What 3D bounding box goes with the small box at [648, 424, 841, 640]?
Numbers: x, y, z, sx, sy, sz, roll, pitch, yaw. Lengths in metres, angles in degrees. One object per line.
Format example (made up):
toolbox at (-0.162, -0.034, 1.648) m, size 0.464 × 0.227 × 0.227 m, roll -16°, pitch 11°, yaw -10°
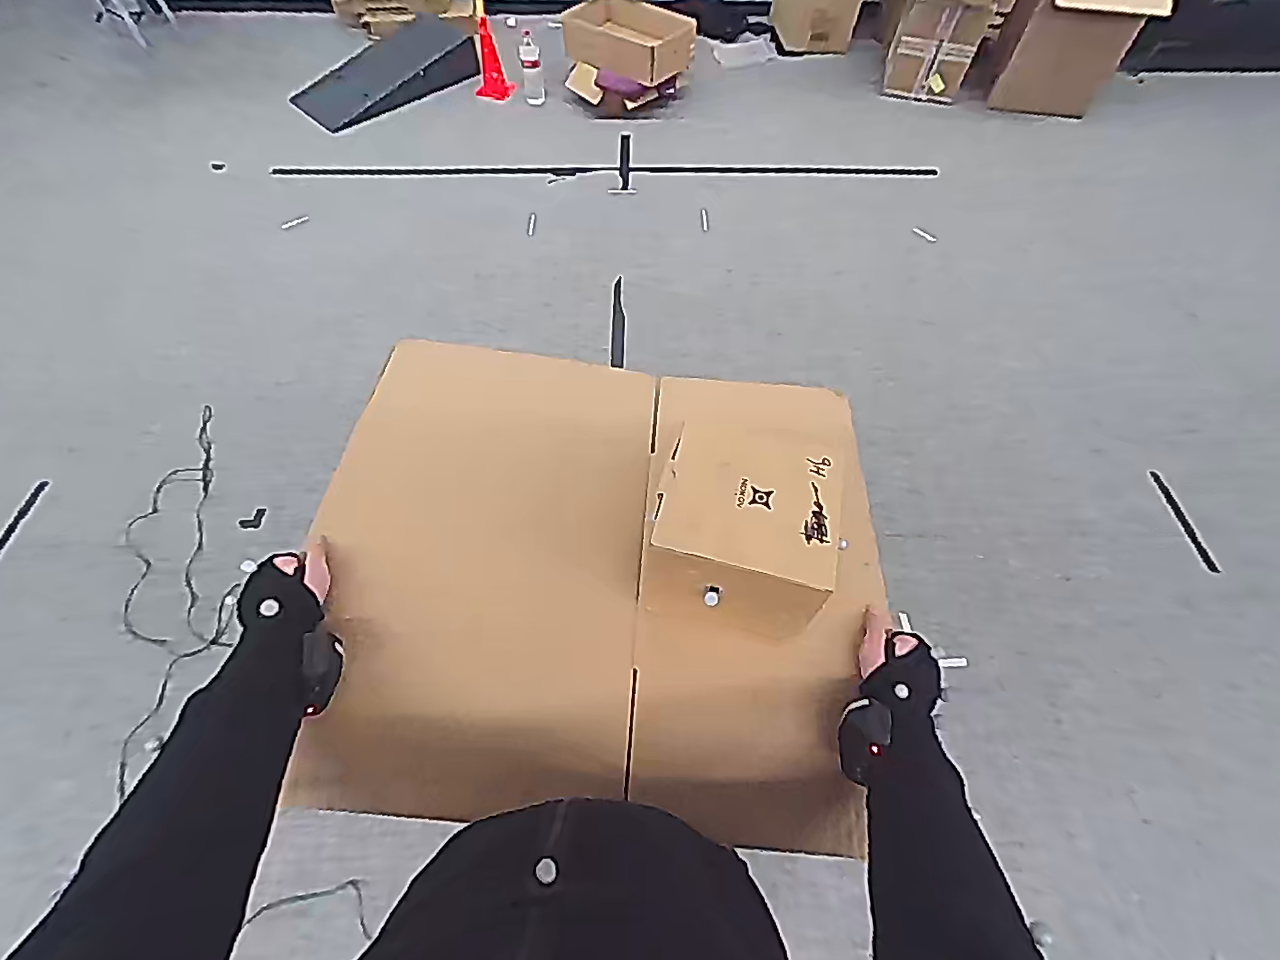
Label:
small box at (0.111, 0.064, 0.614) m, size 0.179 × 0.176 × 0.168 m, roll 13°, pitch 57°, yaw 8°
